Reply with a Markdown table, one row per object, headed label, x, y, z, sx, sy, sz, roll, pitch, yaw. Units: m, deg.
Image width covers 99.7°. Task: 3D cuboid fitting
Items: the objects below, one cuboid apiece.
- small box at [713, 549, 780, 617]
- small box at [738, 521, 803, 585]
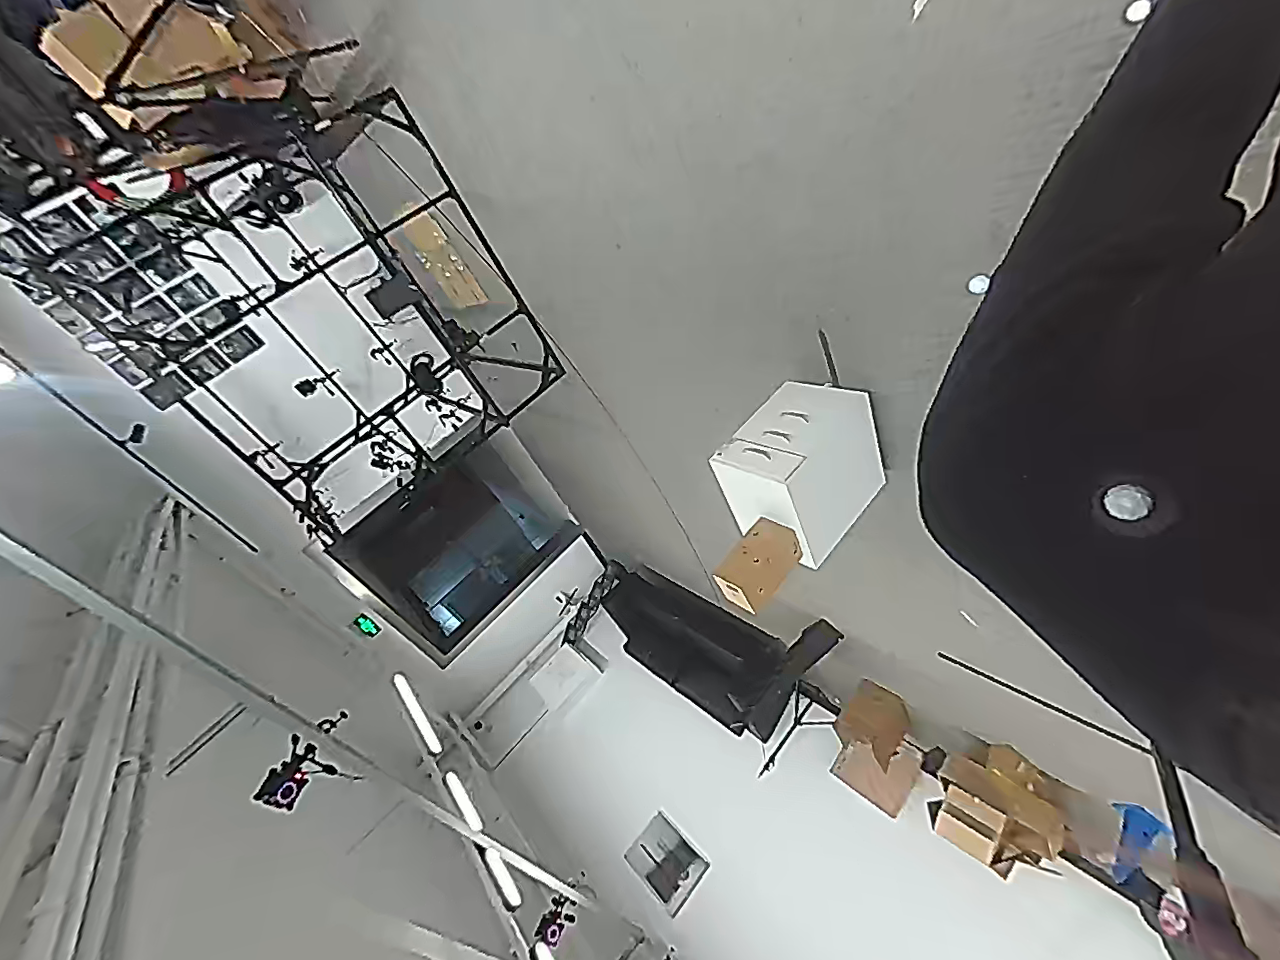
| label | x | y | z | sx | sy | sz | roll | pitch | yaw |
| --- | --- | --- | --- | --- | --- | --- | --- | --- | --- |
| small box | 0.427 | 0.405 | 2.158 | 0.168 | 0.176 | 0.179 | 22 | 151 | 52 |
| small box | 0.535 | 0.293 | 2.209 | 0.179 | 0.176 | 0.168 | 24 | 151 | 48 |
